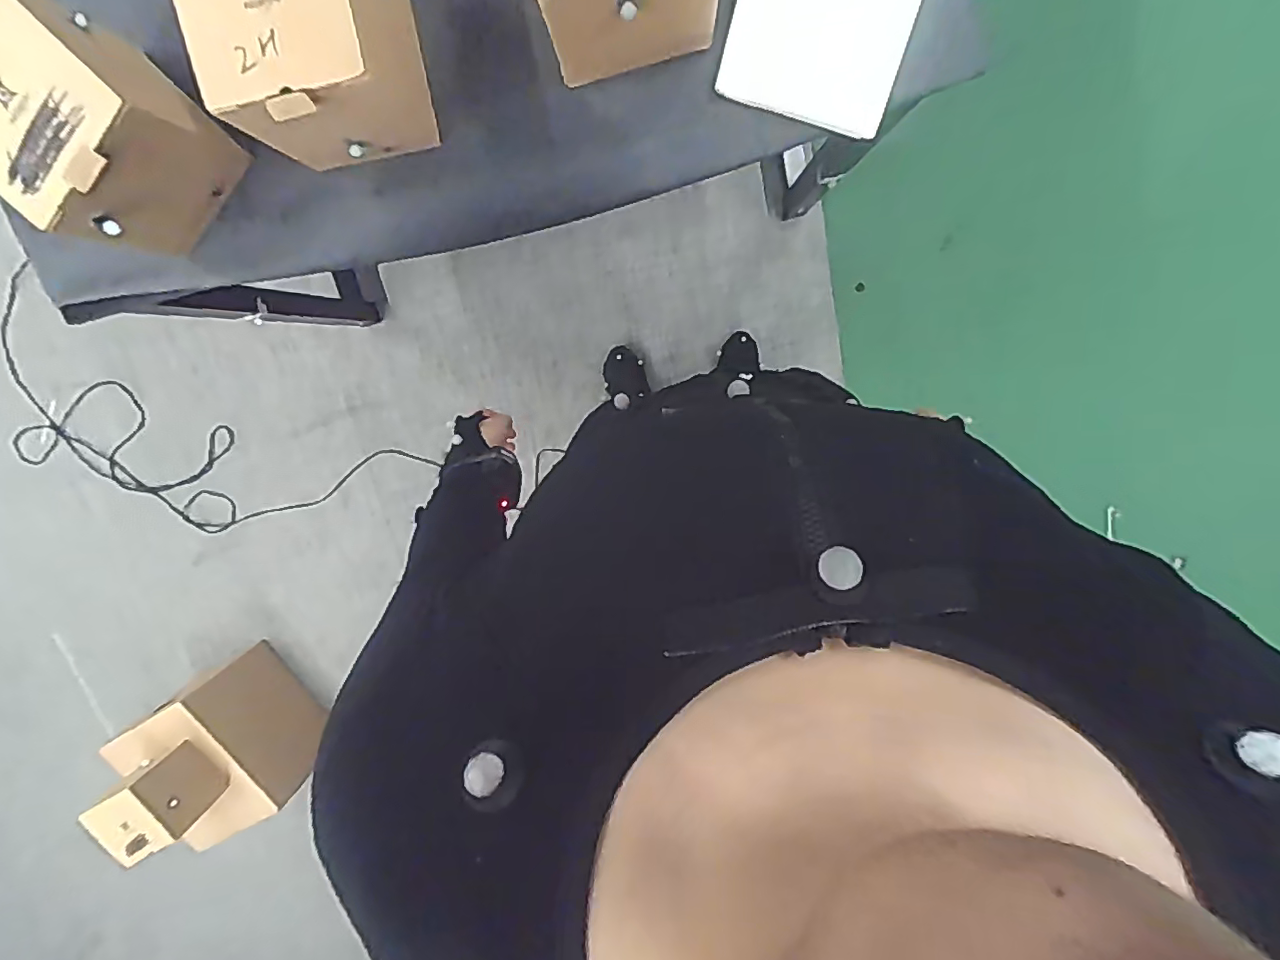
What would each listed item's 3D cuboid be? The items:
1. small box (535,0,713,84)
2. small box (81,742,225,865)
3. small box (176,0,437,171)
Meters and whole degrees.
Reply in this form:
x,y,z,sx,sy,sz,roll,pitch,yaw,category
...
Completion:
x,y,z,sx,sy,sz,roll,pitch,yaw,category
-0.023,-0.543,0.539,0.179,0.176,0.168,-12,101,7,small box
-1.213,0.809,1.364,0.168,0.176,0.179,-30,100,8,small box
-0.343,-0.464,0.575,0.168,0.176,0.179,-8,102,6,small box
